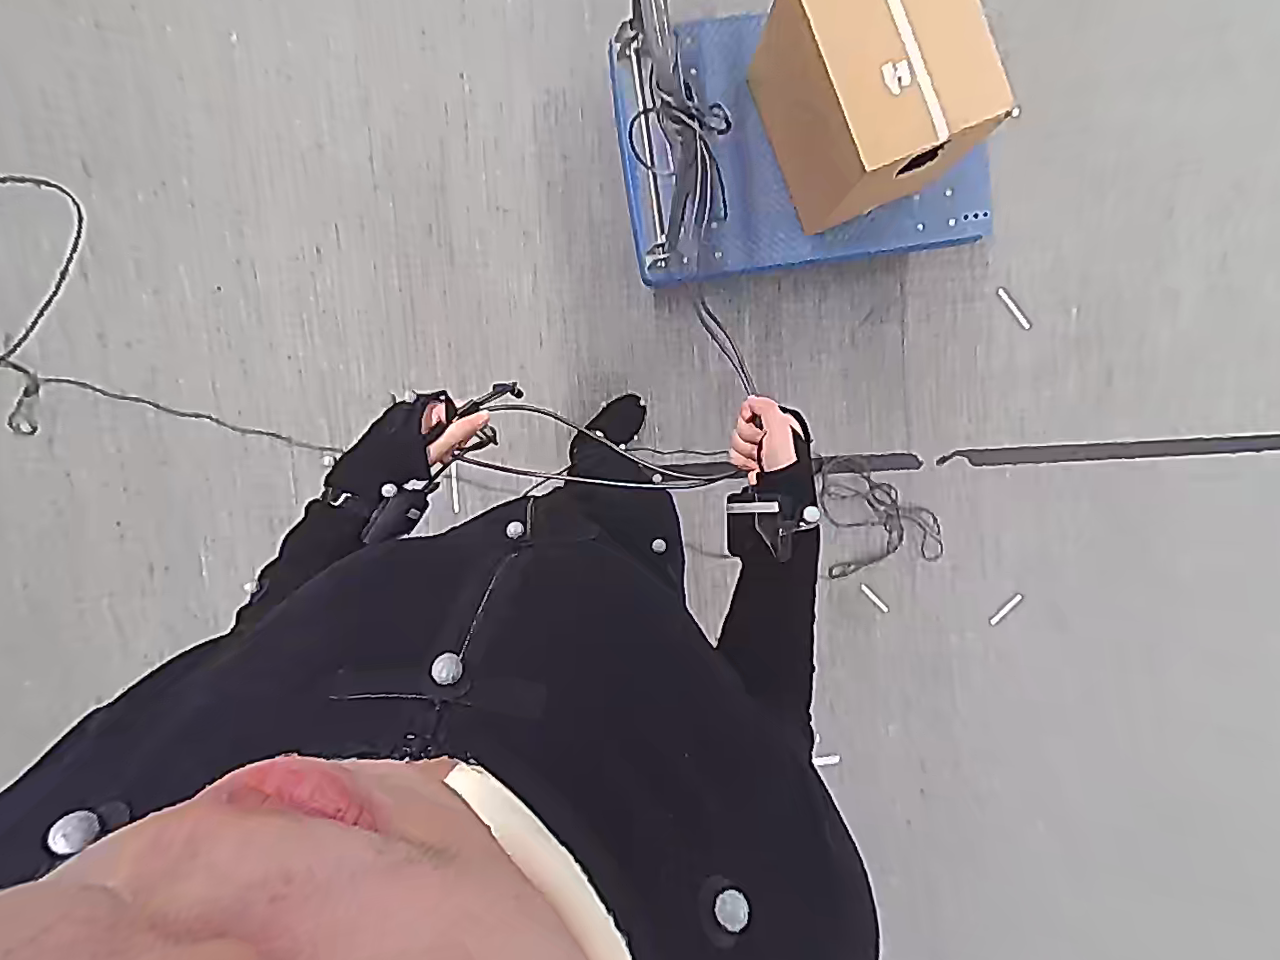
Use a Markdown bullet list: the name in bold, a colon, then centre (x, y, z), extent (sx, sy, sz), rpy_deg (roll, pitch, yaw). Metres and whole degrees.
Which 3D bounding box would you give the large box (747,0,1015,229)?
- **large box**: centre (0.470, -0.823, 1.126), extent (0.320, 0.320, 0.408), rpy_deg (-23, 96, 0)
